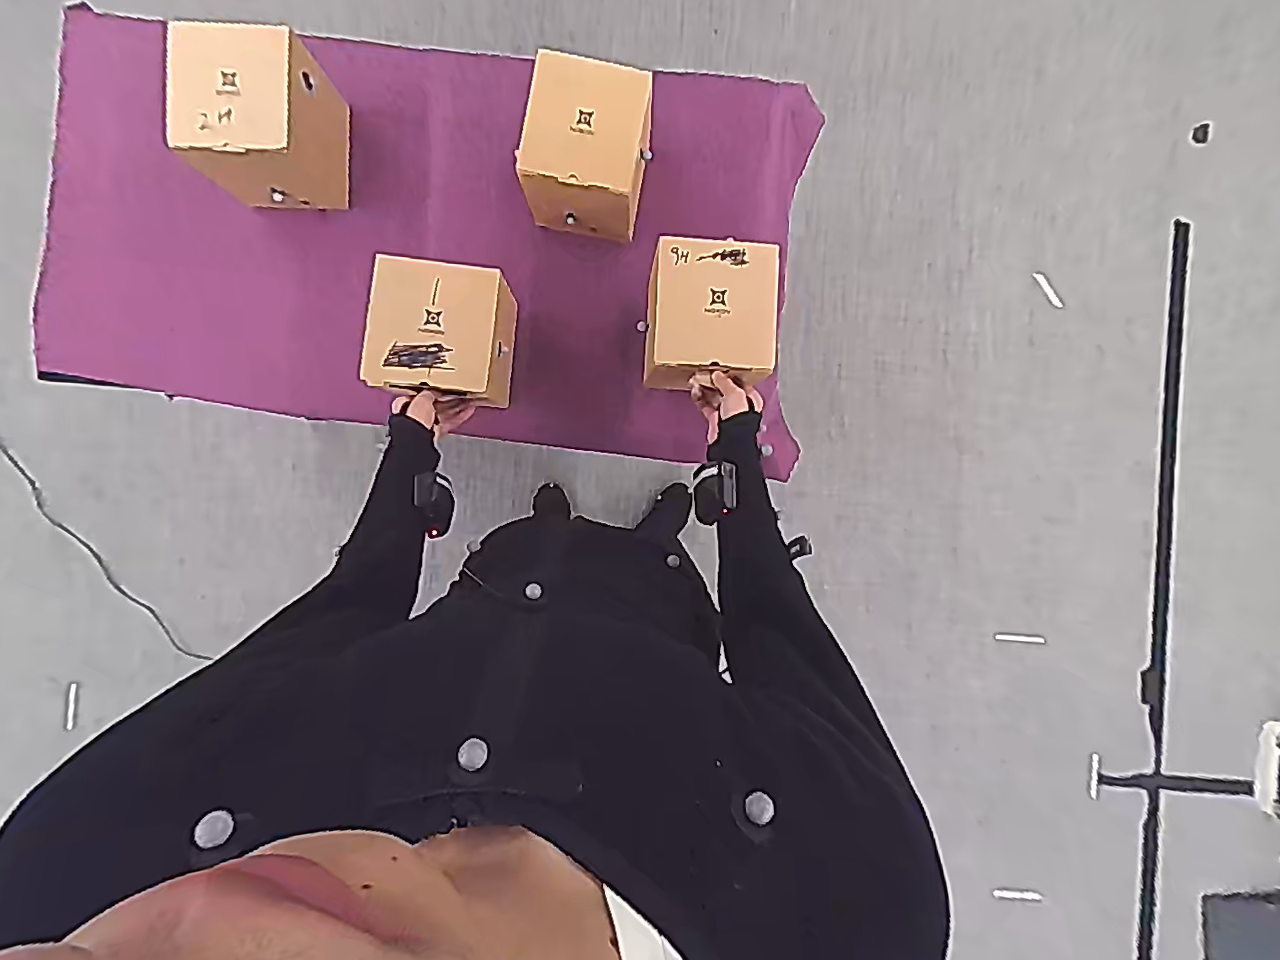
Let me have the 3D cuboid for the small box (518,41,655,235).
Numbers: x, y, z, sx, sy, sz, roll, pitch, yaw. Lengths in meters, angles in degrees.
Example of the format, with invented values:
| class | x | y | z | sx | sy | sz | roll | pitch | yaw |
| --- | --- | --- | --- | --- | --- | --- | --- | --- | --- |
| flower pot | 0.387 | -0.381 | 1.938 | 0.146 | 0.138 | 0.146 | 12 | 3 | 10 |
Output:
| class | x | y | z | sx | sy | sz | roll | pitch | yaw |
| --- | --- | --- | --- | --- | --- | --- | --- | --- | --- |
| small box | -0.077 | -0.510 | 0.832 | 0.168 | 0.176 | 0.179 | 11 | 91 | -1 |

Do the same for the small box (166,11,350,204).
| class | x | y | z | sx | sy | sz | roll | pitch | yaw |
| --- | --- | --- | --- | --- | --- | --- | --- | --- | --- |
| small box | -0.563 | -0.550 | 0.818 | 0.168 | 0.176 | 0.179 | 1 | 91 | -1 |

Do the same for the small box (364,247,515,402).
| class | x | y | z | sx | sy | sz | roll | pitch | yaw |
| --- | --- | --- | --- | --- | --- | --- | --- | --- | --- |
| small box | -0.284 | -0.216 | 0.801 | 0.168 | 0.176 | 0.179 | 6 | 91 | -5 |

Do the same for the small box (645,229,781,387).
| class | x | y | z | sx | sy | sz | roll | pitch | yaw |
| --- | --- | --- | --- | --- | --- | --- | --- | --- | --- |
| small box | 0.098 | -0.239 | 0.796 | 0.168 | 0.176 | 0.179 | 3 | 89 | -4 |
